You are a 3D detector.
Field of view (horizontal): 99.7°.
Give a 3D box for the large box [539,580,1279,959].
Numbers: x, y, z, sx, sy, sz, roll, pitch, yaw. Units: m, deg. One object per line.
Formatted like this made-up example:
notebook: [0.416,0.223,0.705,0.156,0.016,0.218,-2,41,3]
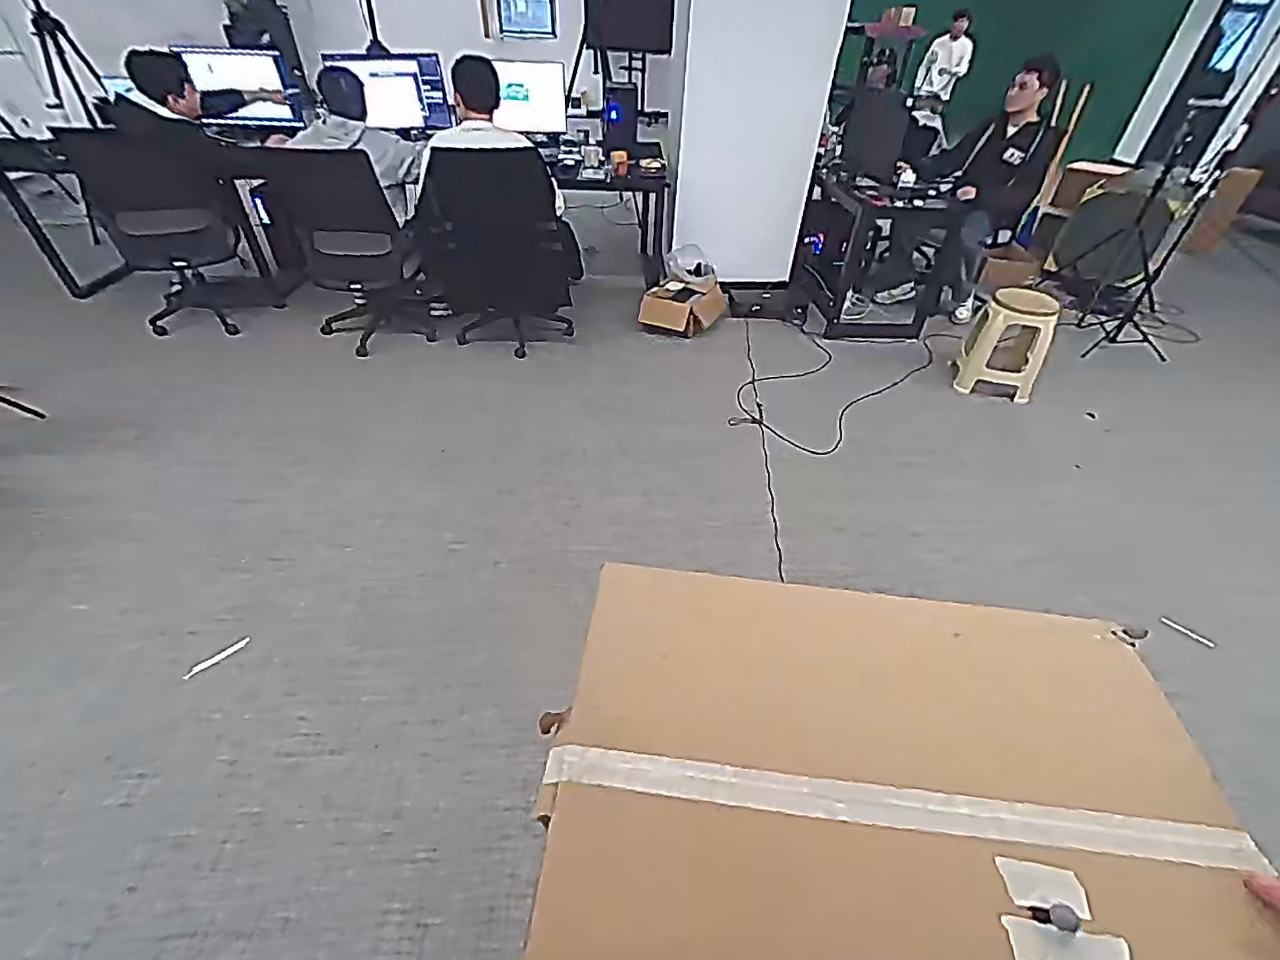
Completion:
large box: [0.144,0.312,0.428,0.408,0.320,0.320,6,44,2]
